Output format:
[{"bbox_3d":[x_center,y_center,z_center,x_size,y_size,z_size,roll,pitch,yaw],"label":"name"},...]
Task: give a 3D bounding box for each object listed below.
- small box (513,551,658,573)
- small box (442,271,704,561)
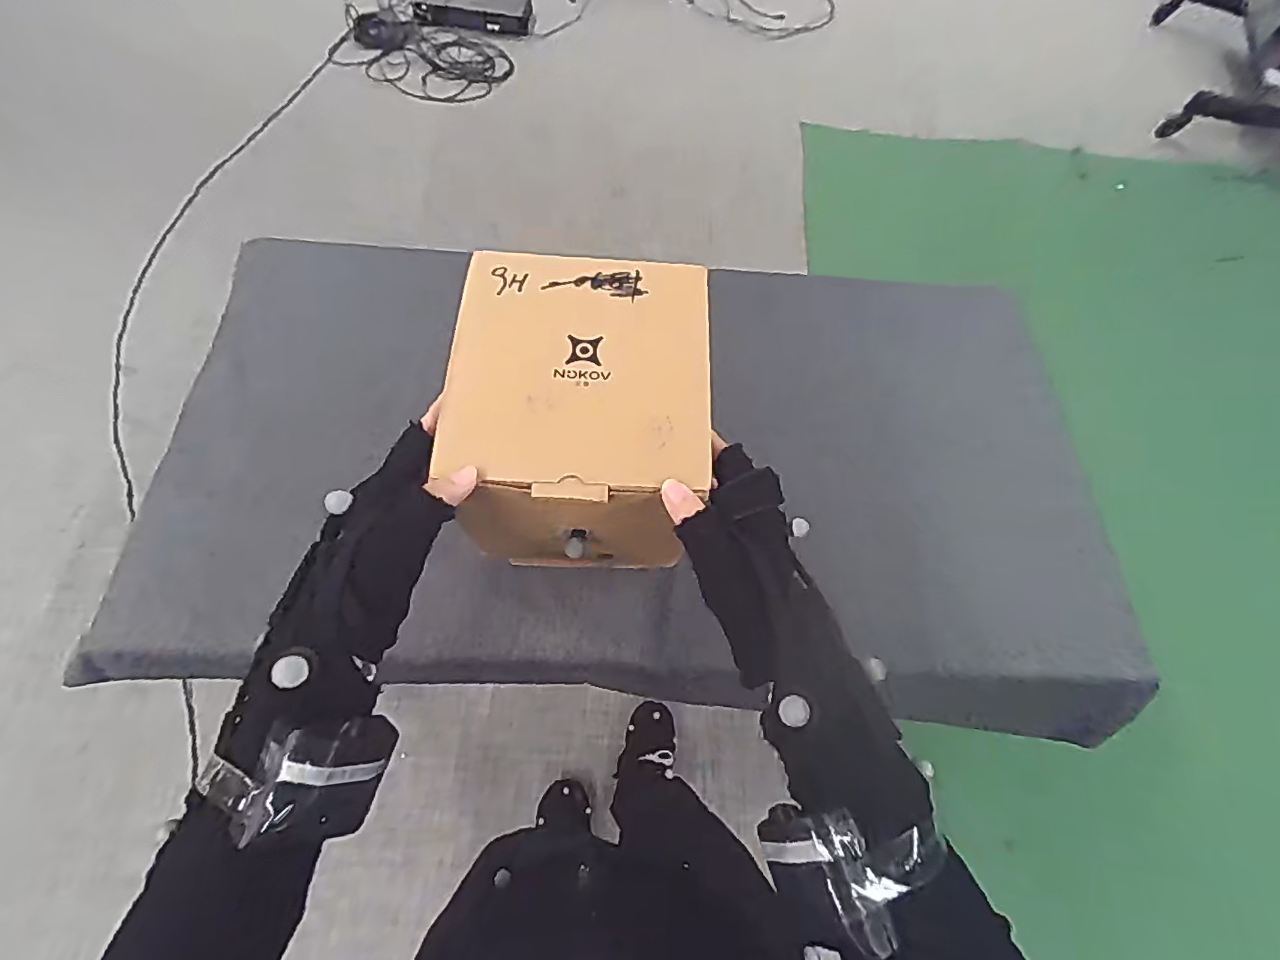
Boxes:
[{"bbox_3d":[-0.058,0.007,0.627,0.179,0.176,0.168,2,66,-4],"label":"small box"},{"bbox_3d":[-0.041,-0.037,0.435,0.168,0.176,0.179,3,67,-3],"label":"small box"}]
